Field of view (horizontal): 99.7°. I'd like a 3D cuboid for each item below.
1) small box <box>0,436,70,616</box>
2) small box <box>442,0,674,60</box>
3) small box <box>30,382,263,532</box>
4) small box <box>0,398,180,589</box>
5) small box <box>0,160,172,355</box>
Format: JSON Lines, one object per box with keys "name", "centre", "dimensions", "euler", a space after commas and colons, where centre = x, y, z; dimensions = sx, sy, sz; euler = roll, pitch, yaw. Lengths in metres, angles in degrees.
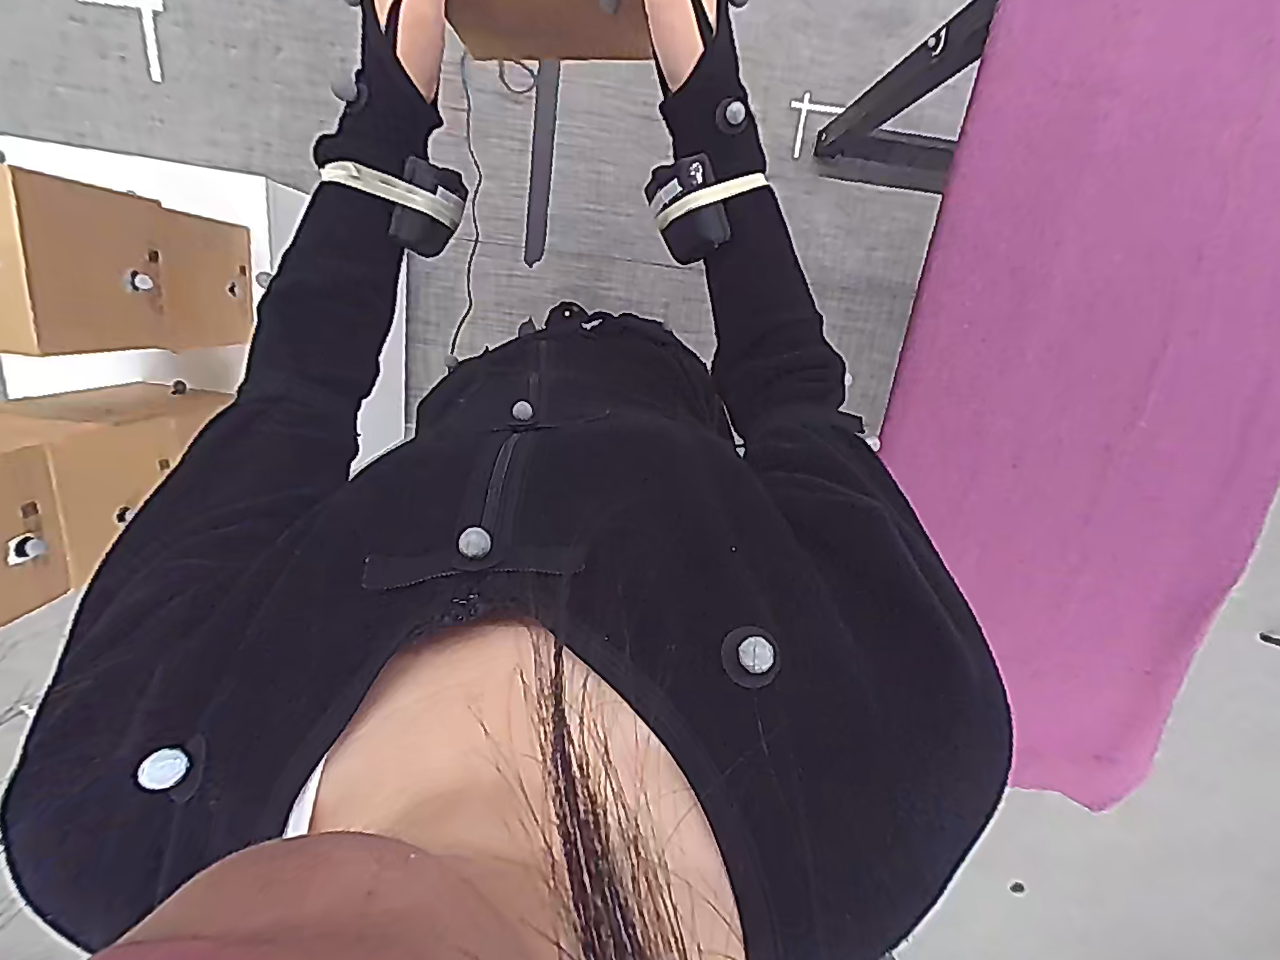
{"name": "small box", "centre": [-0.667, 0.052, 0.461], "dimensions": [0.179, 0.176, 0.168], "euler": [5, 108, -5]}
{"name": "small box", "centre": [-0.059, -0.424, 0.375], "dimensions": [0.179, 0.176, 0.168], "euler": [0, 107, 0]}
{"name": "small box", "centre": [-0.683, -0.042, 0.772], "dimensions": [0.179, 0.176, 0.168], "euler": [7, 107, -4]}
{"name": "small box", "centre": [-0.673, 0.006, 0.617], "dimensions": [0.179, 0.176, 0.168], "euler": [6, 107, -4]}
{"name": "small box", "centre": [-0.630, -0.228, 0.544], "dimensions": [0.179, 0.176, 0.168], "euler": [8, 107, -7]}
